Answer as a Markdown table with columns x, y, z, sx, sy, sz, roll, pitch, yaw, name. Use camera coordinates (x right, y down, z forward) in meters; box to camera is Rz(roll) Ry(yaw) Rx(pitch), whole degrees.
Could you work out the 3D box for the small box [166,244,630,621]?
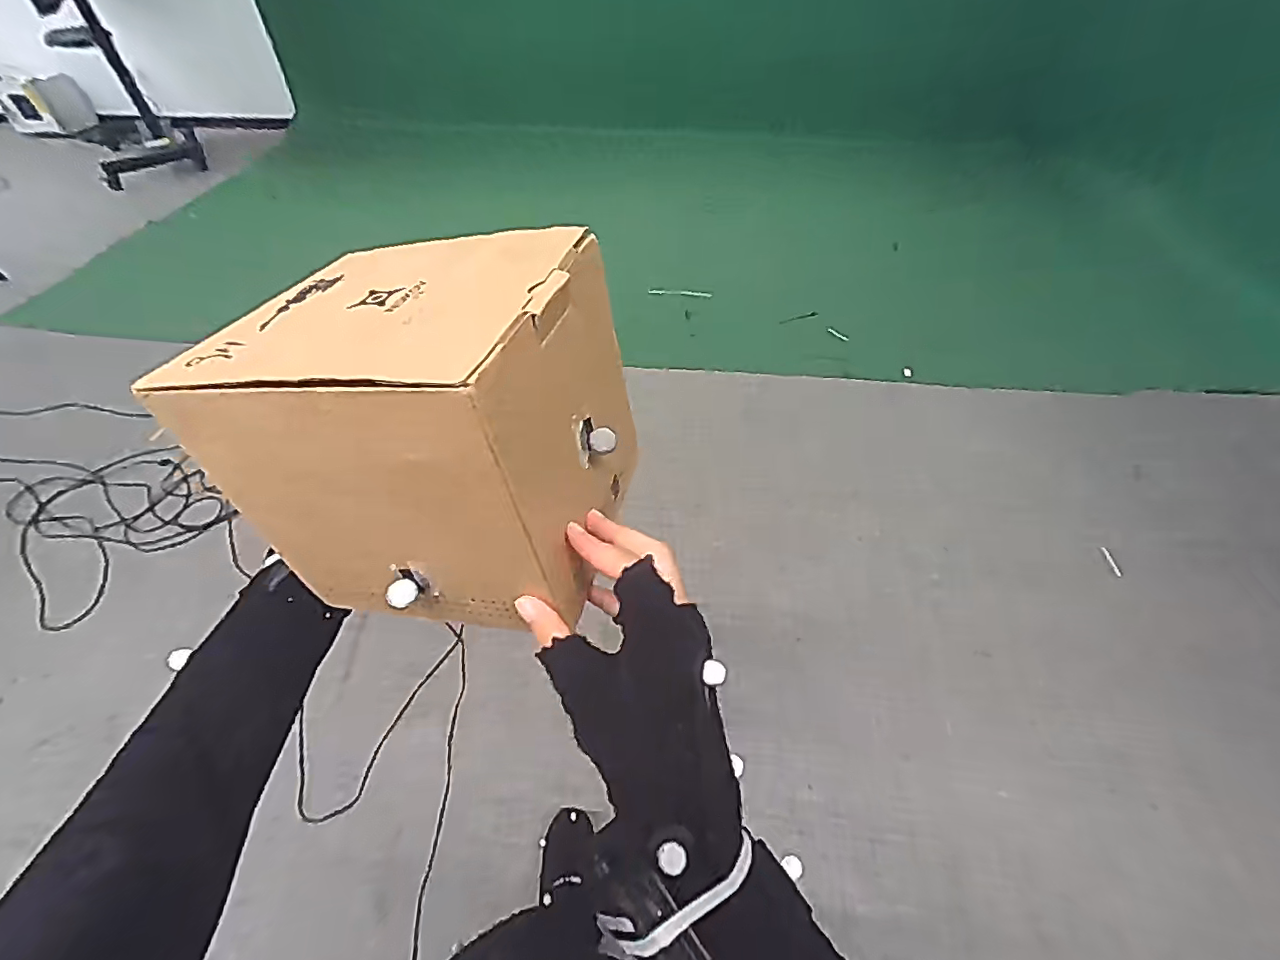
| x | y | z | sx | sy | sz | roll | pitch | yaw | name |
| --- | --- | --- | --- | --- | --- | --- | --- | --- | --- |
| -0.114 | -0.031 | 0.343 | 0.179 | 0.176 | 0.168 | 3 | 42 | 16 | small box |
